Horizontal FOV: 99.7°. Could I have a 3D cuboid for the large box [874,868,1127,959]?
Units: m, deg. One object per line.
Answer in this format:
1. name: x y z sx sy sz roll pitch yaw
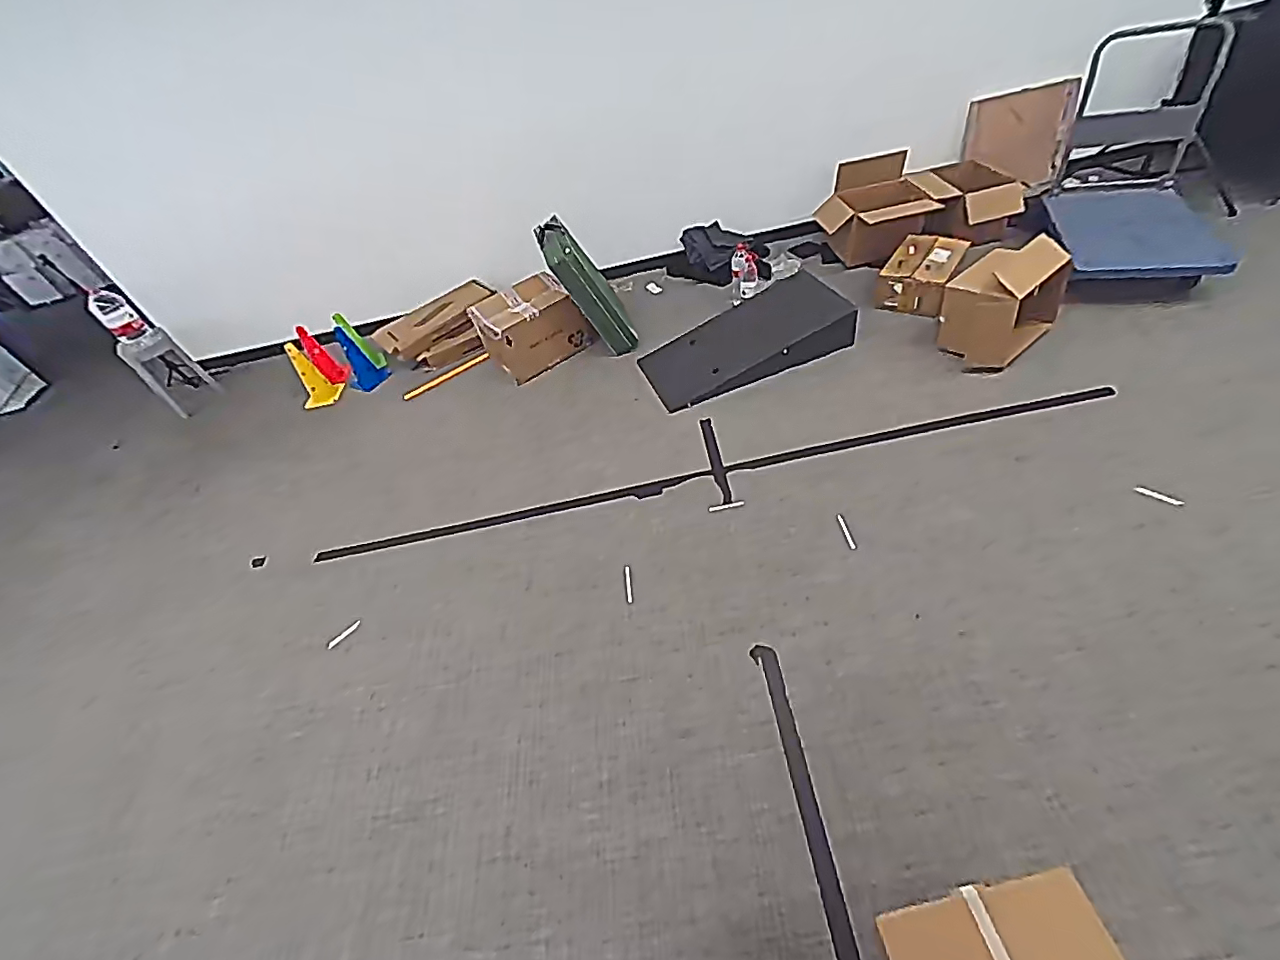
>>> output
1. large box: 0.606 0.889 0.831 0.320 0.320 0.408 -19 47 5
